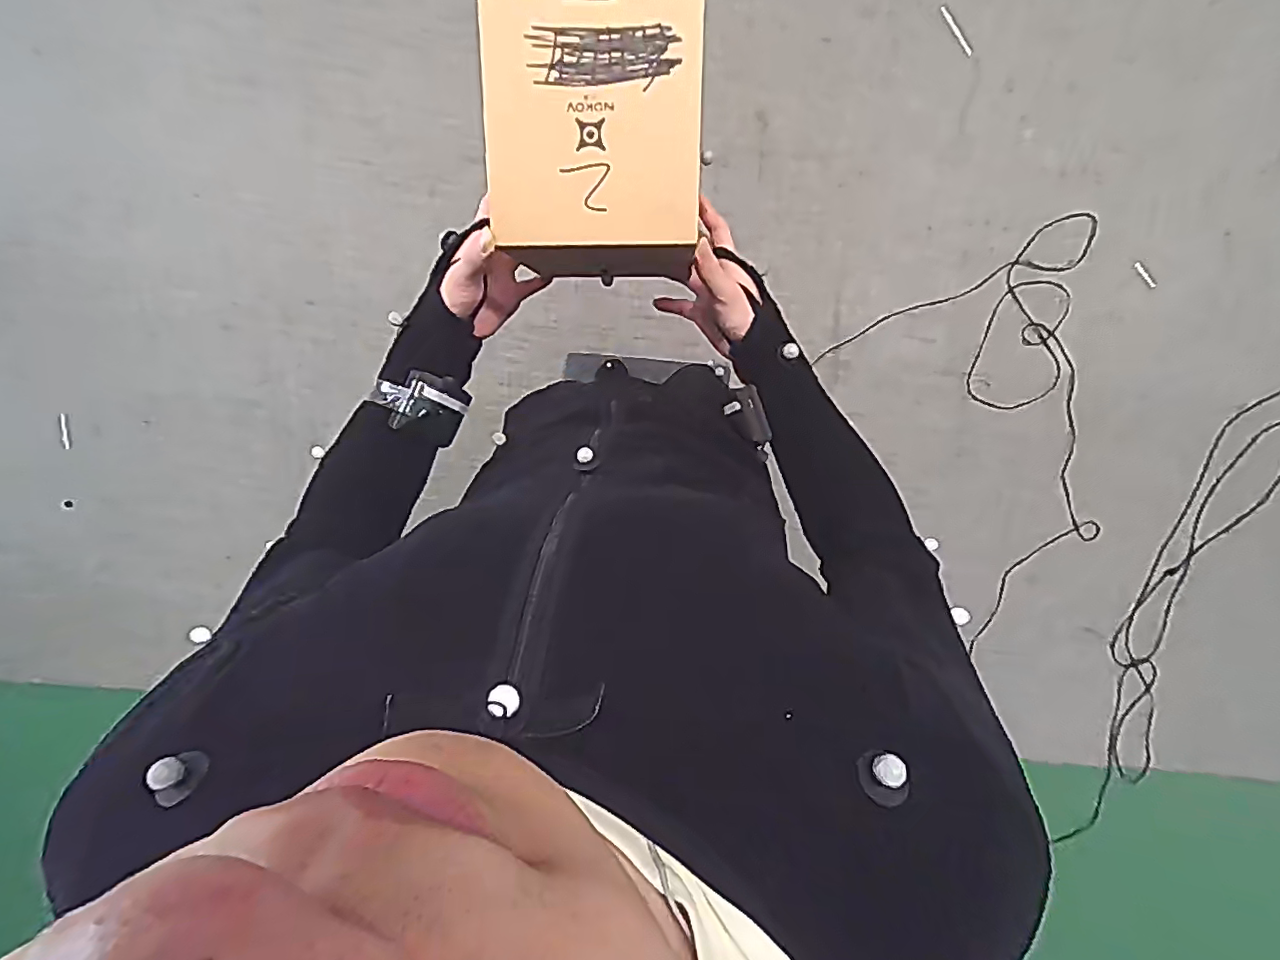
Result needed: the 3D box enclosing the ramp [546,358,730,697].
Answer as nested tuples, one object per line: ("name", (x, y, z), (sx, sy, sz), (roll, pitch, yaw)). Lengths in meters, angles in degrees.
("ramp", (-0.010, 0.150, 1.625), (0.509, 0.206, 0.991), (3, 102, 0))
